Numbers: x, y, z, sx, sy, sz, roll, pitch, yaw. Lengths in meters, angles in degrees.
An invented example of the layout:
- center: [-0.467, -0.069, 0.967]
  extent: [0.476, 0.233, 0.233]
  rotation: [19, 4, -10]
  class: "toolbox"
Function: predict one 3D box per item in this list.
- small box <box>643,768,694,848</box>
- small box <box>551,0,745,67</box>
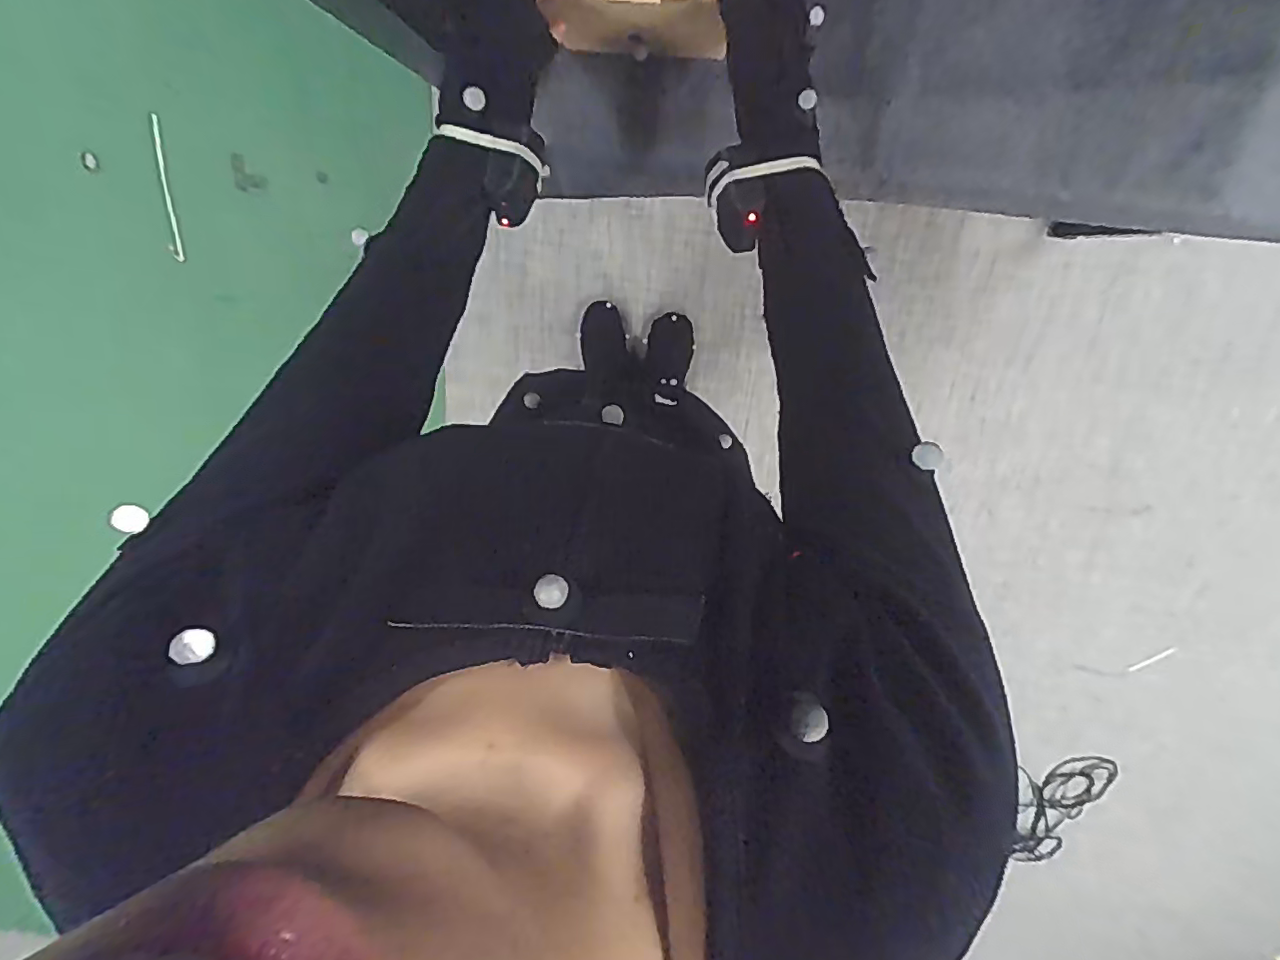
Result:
- center: [0.100, 1.166, 1.925]
  extent: [0.168, 0.176, 0.179]
  rotation: [3, 111, 0]
  class: "small box"
- center: [0.009, -0.478, 0.450]
  extent: [0.168, 0.176, 0.179]
  rotation: [5, 116, 2]
  class: "small box"
